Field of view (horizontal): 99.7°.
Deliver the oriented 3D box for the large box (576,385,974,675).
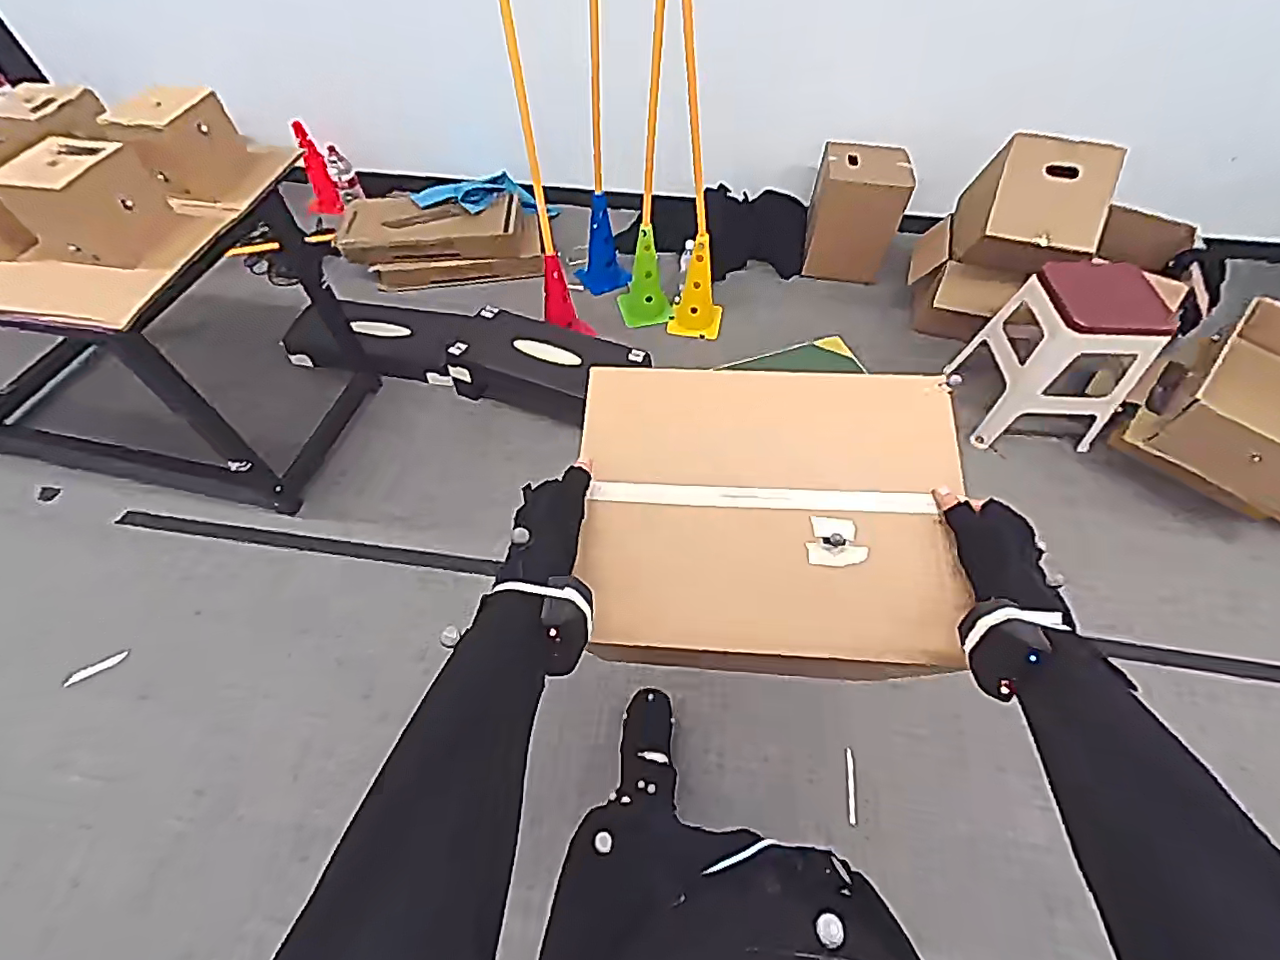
[{"bbox_3d":[0.144,0.086,0.732,0.408,0.320,0.320,2,69,4],"label":"large box"}]
